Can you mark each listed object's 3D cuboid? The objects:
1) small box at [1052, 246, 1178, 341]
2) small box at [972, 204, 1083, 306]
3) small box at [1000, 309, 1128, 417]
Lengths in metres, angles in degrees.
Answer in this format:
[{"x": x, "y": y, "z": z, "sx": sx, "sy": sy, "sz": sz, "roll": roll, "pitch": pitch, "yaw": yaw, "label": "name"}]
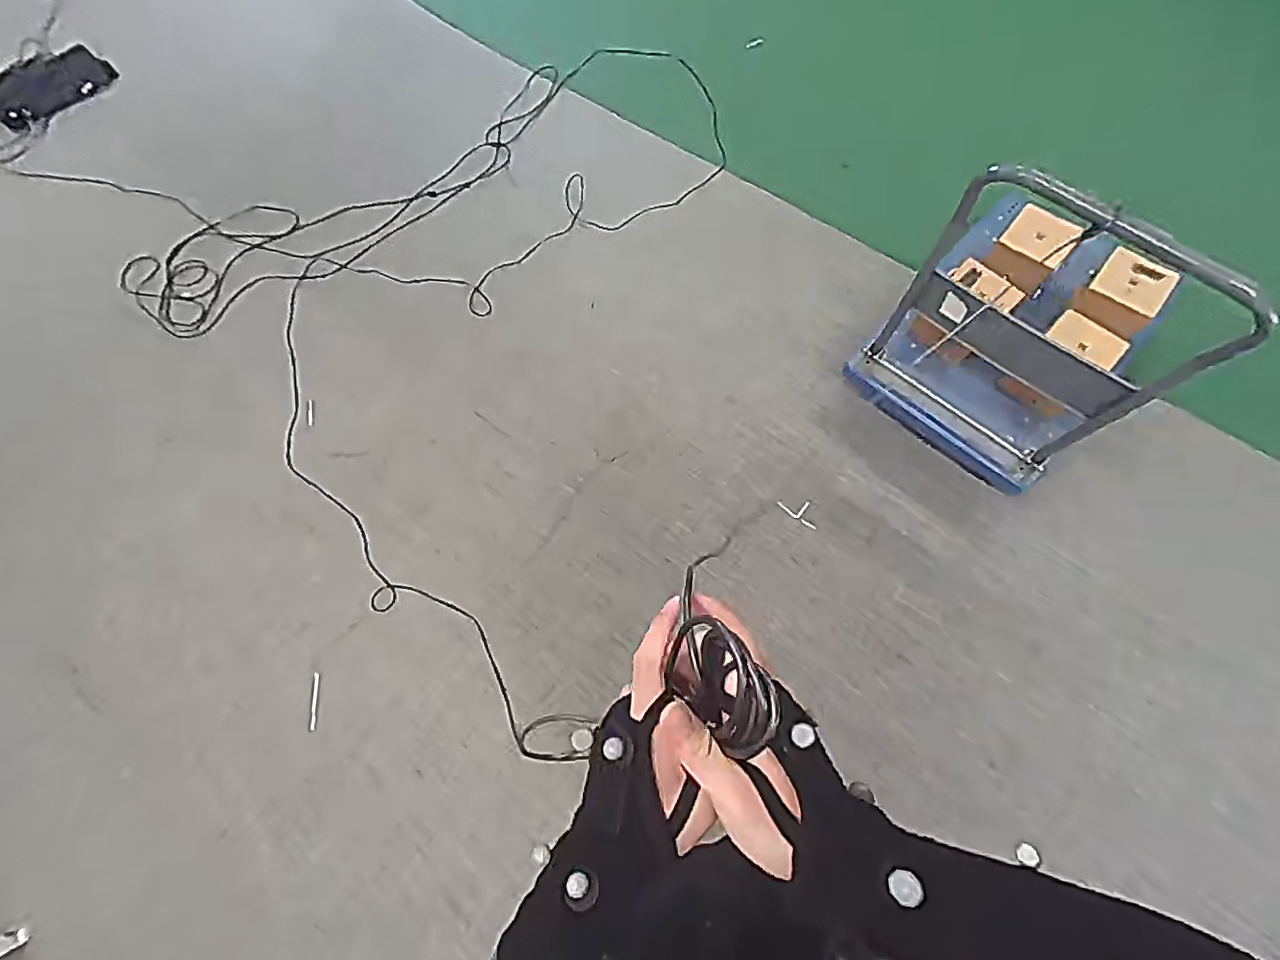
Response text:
[{"x": 1.281, "y": -0.486, "z": 1.472, "sx": 0.168, "sy": 0.176, "sz": 0.179, "roll": 38, "pitch": 76, "yaw": 16, "label": "small box"}, {"x": 1.088, "y": -0.633, "z": 1.539, "sx": 0.168, "sy": 0.176, "sz": 0.179, "roll": 38, "pitch": 76, "yaw": 15, "label": "small box"}, {"x": 1.094, "y": -0.300, "z": 1.413, "sx": 0.168, "sy": 0.176, "sz": 0.179, "roll": 42, "pitch": 77, "yaw": 17, "label": "small box"}]
